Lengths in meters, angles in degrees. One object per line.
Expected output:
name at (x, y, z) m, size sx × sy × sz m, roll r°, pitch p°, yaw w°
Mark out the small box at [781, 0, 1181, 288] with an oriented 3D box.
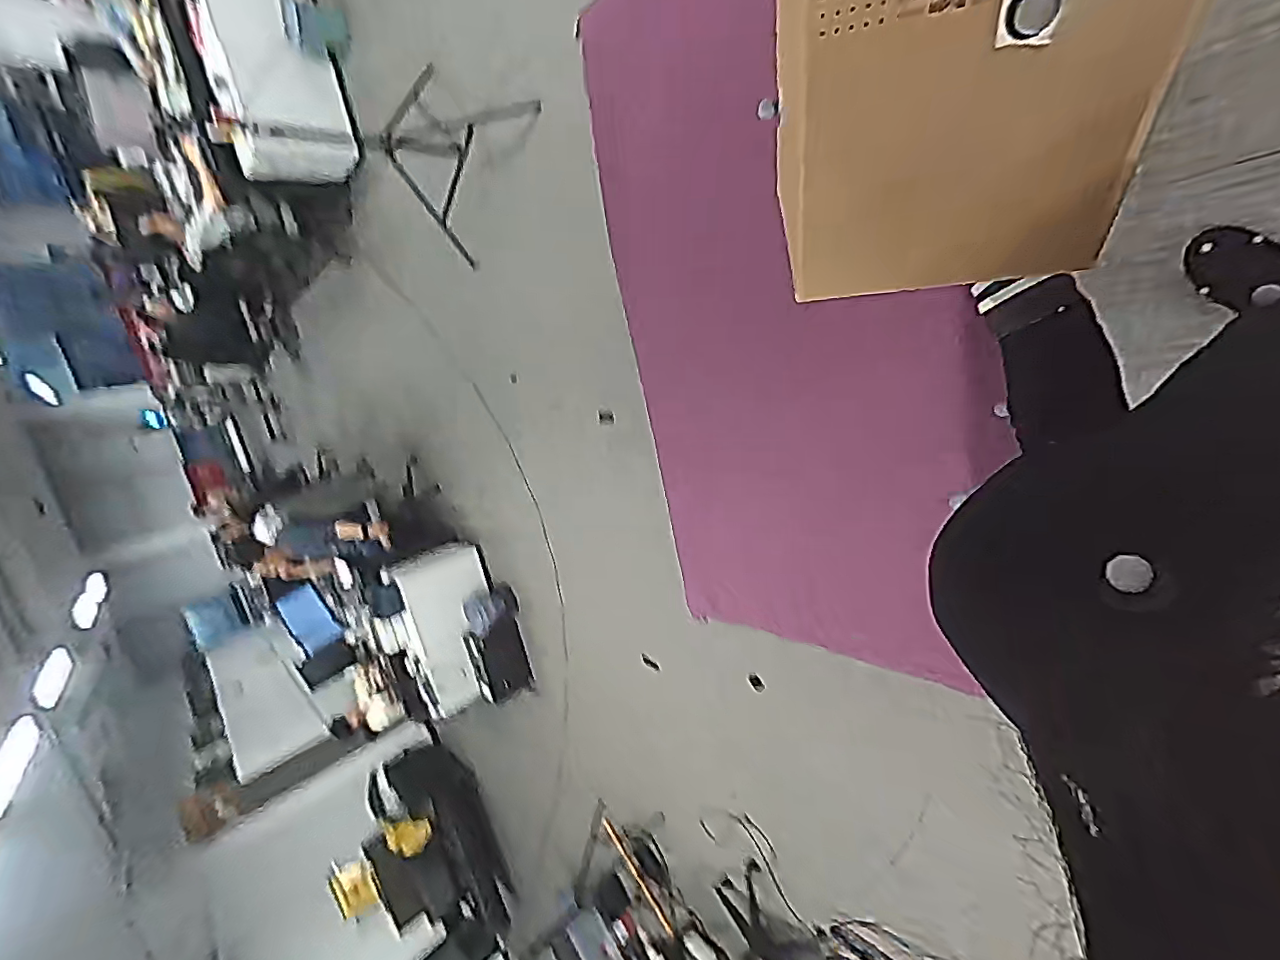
small box at (0.171, -0.241, 0.318) m, size 0.168 × 0.179 × 0.176 m, roll -2°, pitch 136°, yaw 15°
